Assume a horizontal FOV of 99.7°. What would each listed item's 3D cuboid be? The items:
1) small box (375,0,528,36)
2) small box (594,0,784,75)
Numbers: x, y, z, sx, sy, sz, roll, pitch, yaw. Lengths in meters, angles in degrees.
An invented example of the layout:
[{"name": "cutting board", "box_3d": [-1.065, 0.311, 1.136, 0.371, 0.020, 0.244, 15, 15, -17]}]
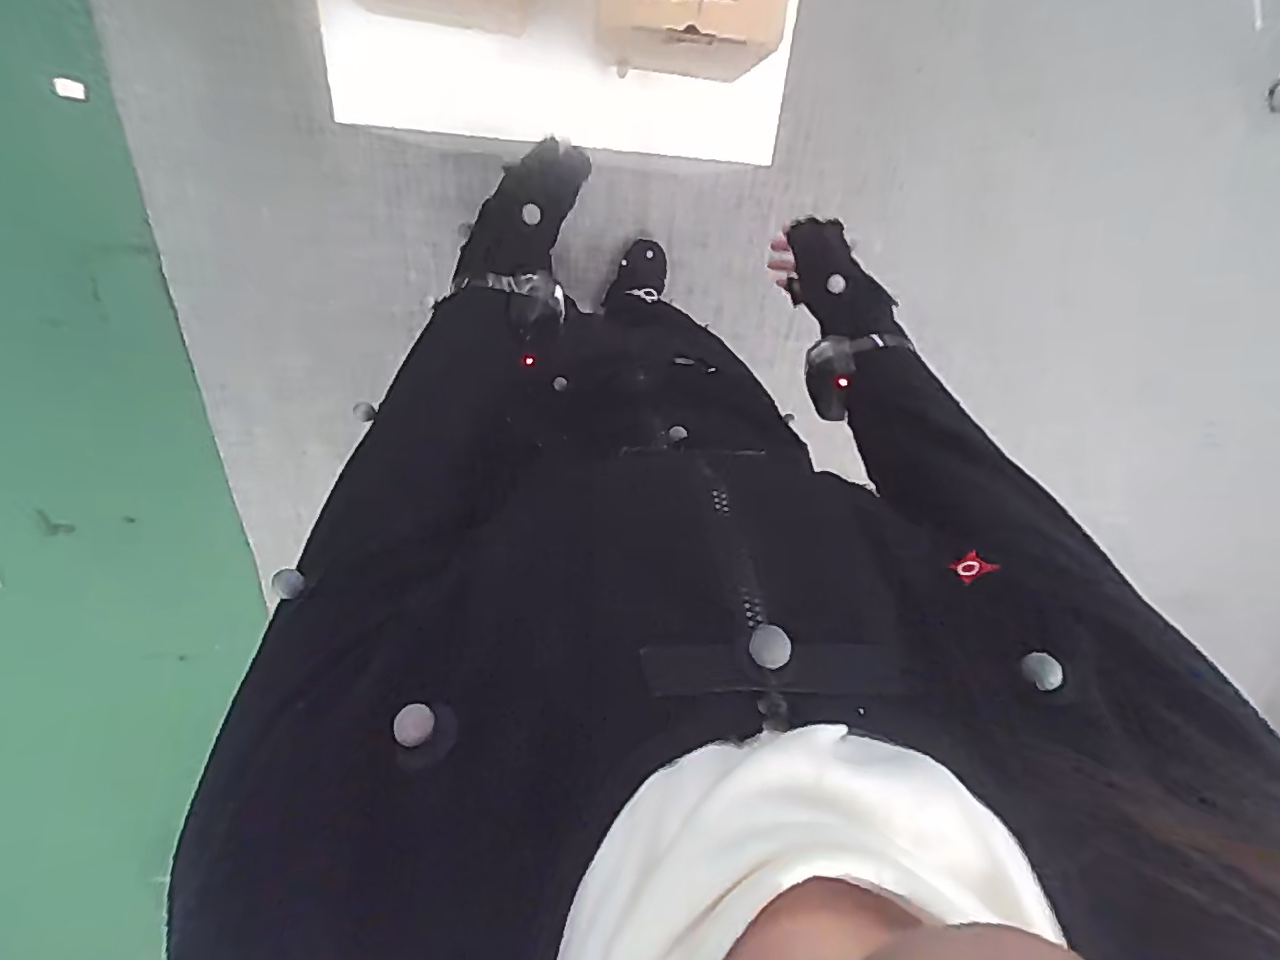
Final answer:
[{"name": "small box", "box_3d": [-0.185, -0.529, 0.468, 0.168, 0.176, 0.179, 4, 116, -8]}, {"name": "small box", "box_3d": [0.044, -0.506, 0.505, 0.168, 0.176, 0.179, 3, 116, -7]}]
